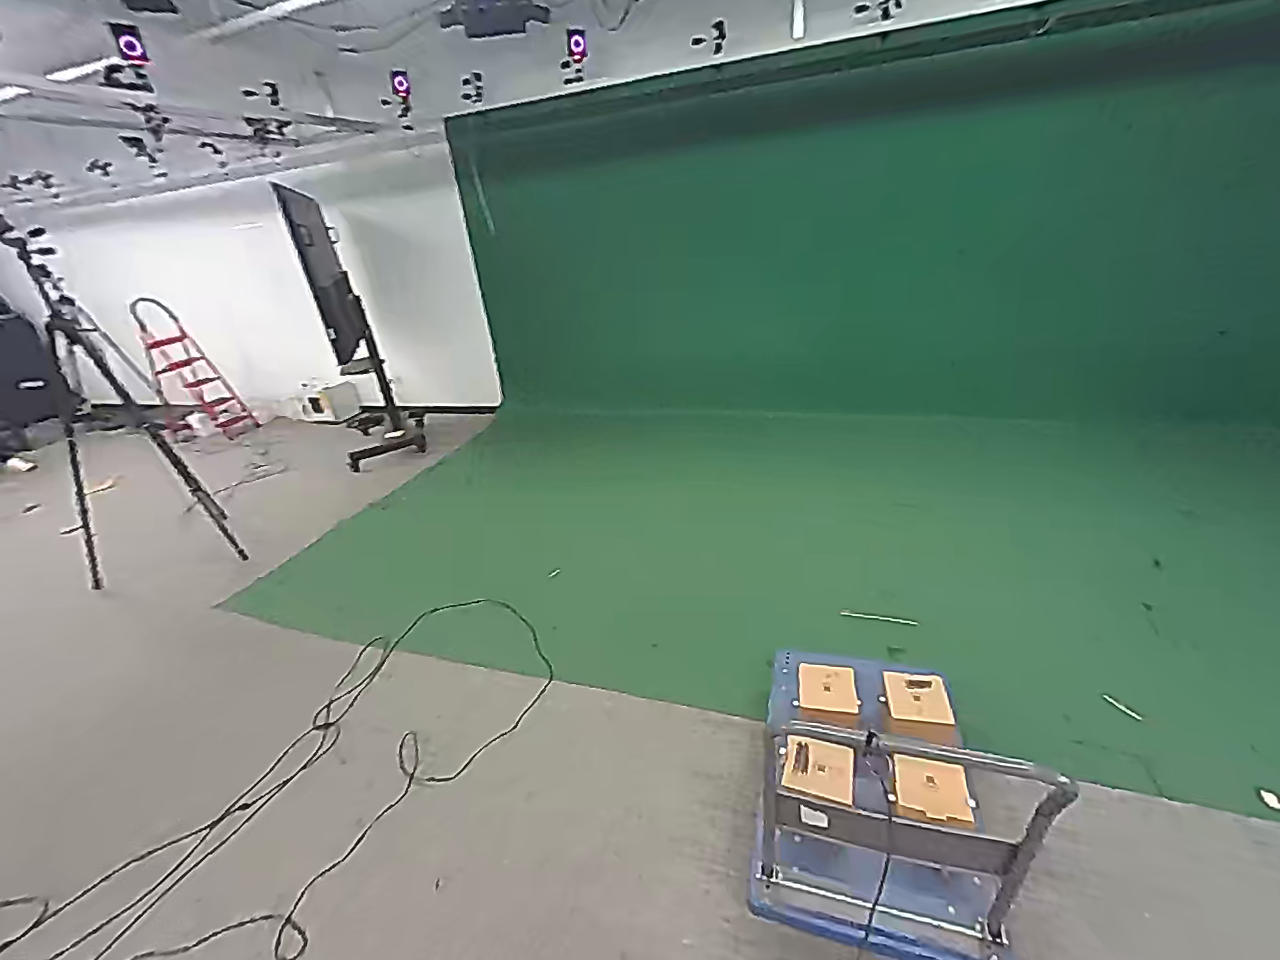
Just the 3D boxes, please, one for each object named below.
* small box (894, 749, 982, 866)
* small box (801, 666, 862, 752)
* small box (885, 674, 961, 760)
[{"bbox_3d":[0.753,0.836,1.387,0.168,0.176,0.179,3,29,19],"label":"small box"},{"bbox_3d":[0.591,0.710,1.677,0.168,0.176,0.179,1,28,15],"label":"small box"},{"bbox_3d":[0.834,0.711,1.612,0.168,0.176,0.179,0,28,16],"label":"small box"}]
